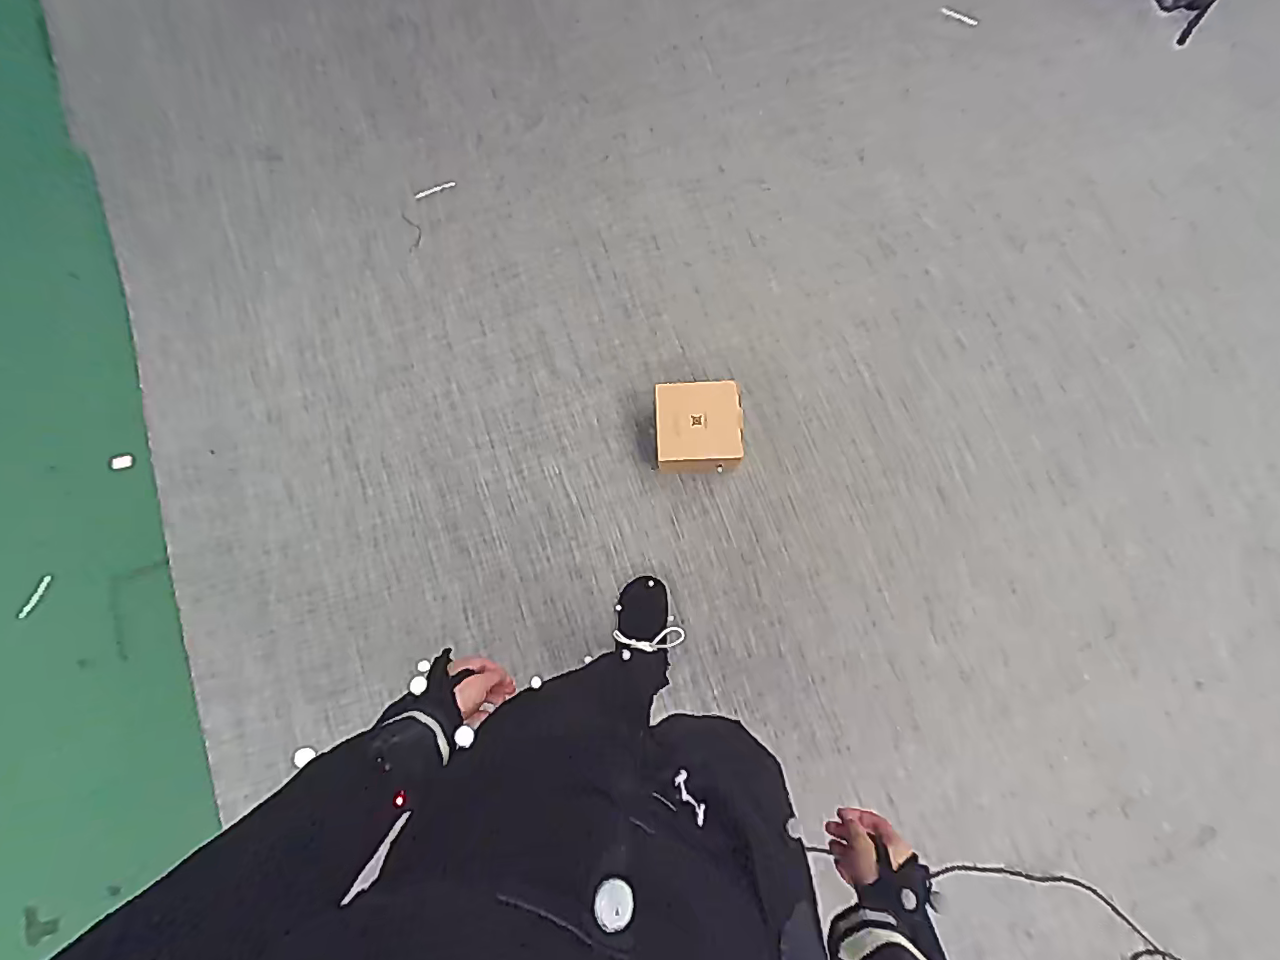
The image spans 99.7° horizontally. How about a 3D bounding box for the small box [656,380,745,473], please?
[{"bbox_3d":[0.128,-0.111,1.187,0.179,0.176,0.168,-3,80,4],"label":"small box"}]
